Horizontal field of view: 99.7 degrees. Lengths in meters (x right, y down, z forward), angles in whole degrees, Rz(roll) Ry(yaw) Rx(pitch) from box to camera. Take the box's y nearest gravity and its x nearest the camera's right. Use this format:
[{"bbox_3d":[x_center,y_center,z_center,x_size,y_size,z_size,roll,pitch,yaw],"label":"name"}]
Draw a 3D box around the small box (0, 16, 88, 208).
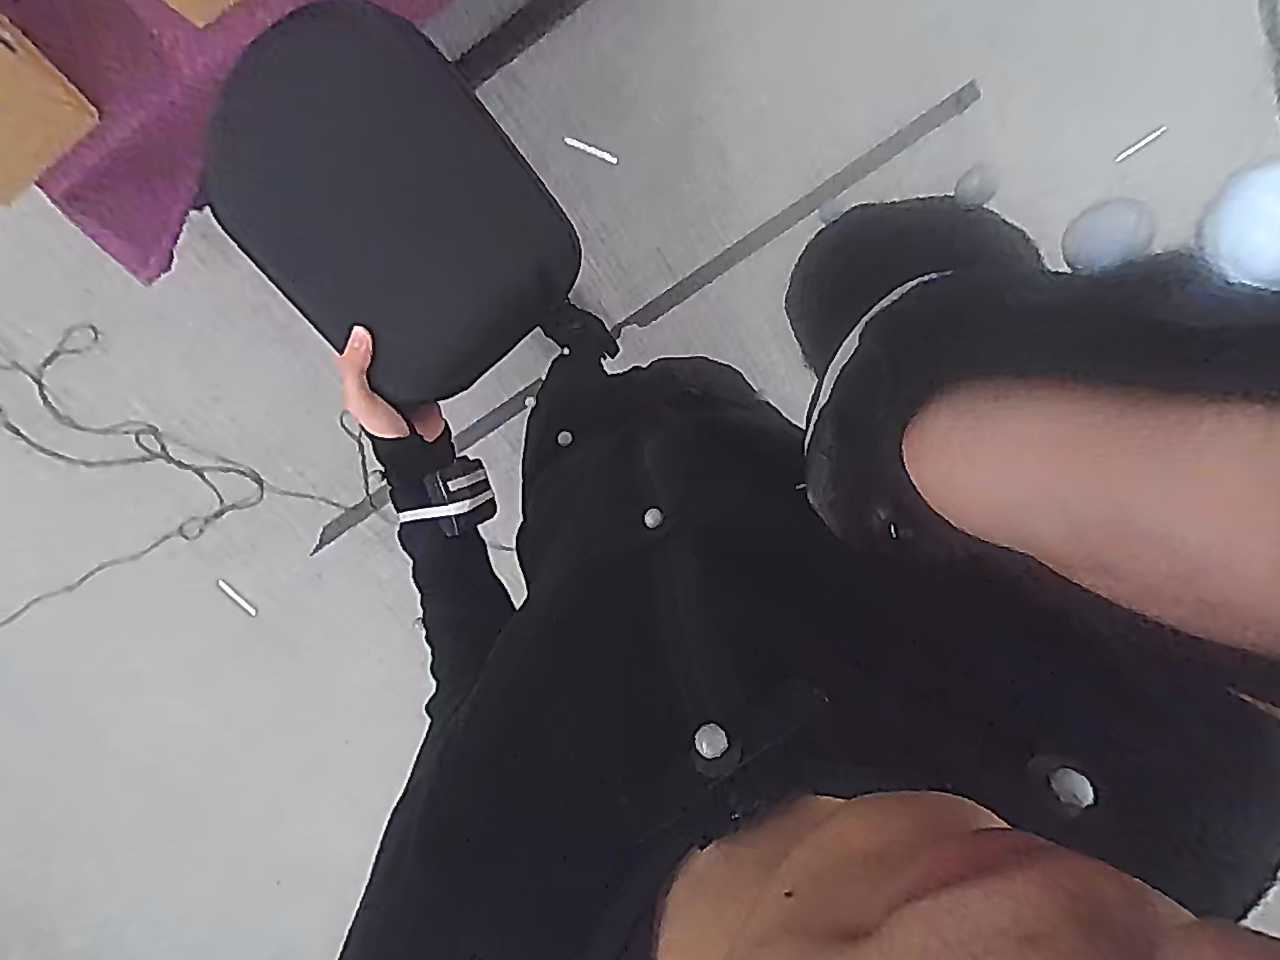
[{"bbox_3d":[-0.759,-0.416,0.561,0.179,0.176,0.168,-38,108,5],"label":"small box"}]
